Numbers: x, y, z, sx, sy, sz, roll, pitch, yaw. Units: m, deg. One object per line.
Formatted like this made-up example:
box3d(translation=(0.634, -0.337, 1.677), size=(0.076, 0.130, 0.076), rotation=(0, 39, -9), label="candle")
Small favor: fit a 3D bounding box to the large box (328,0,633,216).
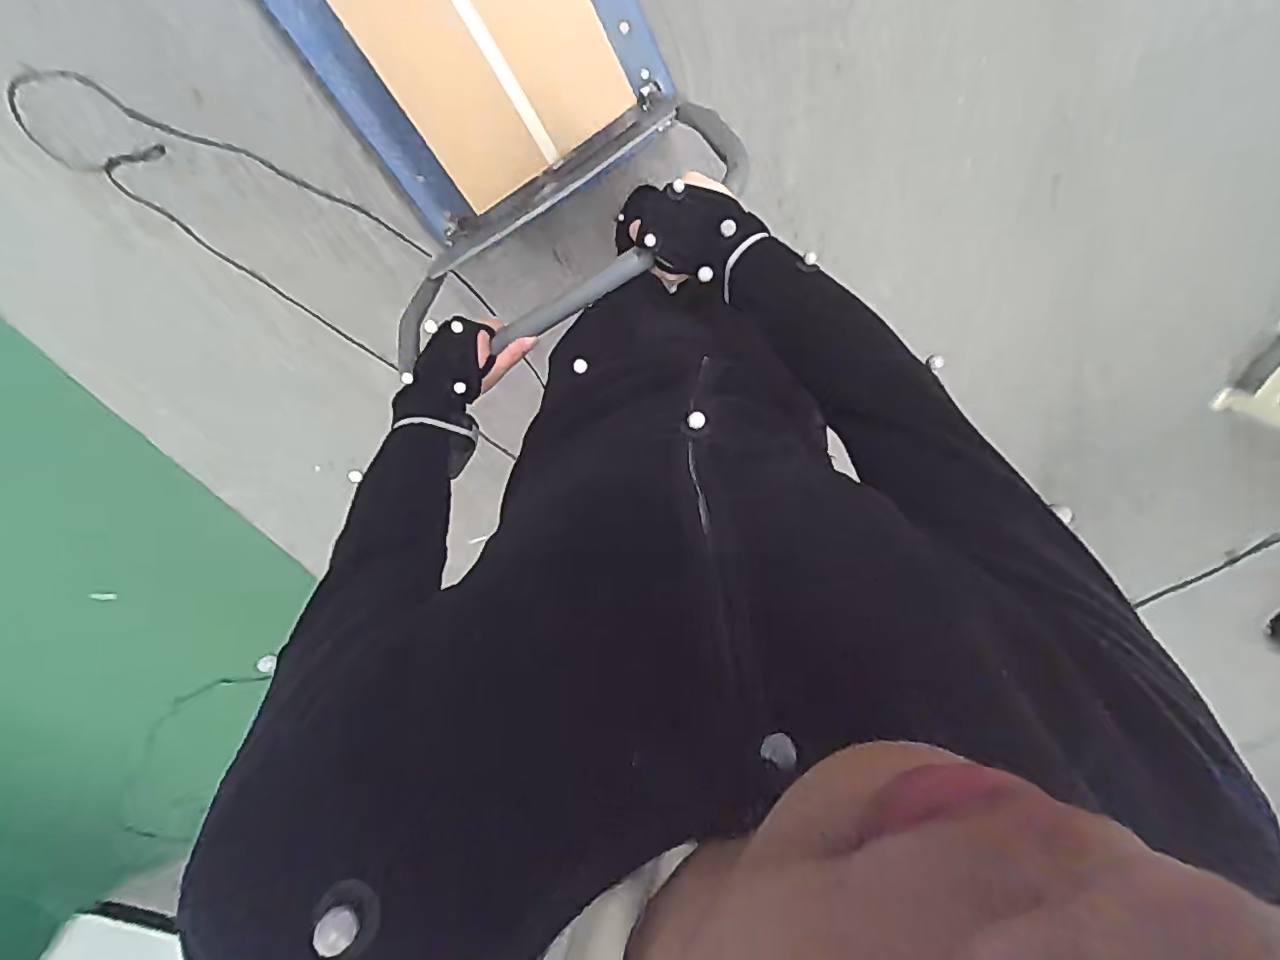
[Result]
box3d(translation=(-0.246, -0.735, 0.905), size=(0.320, 0.320, 0.408), rotation=(-28, 123, 13), label="large box")
